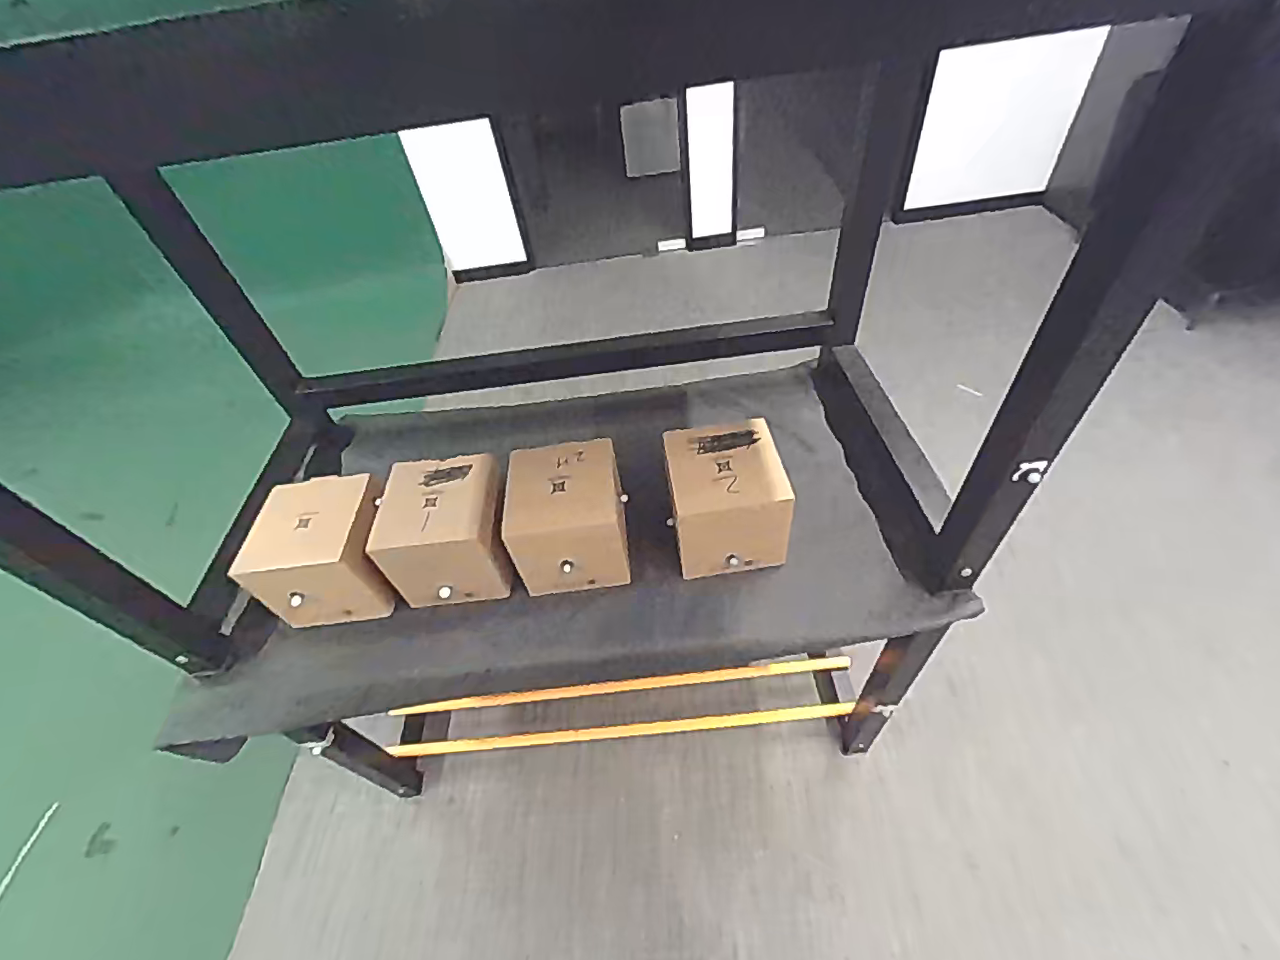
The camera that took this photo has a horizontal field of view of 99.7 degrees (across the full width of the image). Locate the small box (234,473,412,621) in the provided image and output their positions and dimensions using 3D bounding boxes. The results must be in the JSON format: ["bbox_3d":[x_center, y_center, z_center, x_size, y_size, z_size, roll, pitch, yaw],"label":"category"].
[{"bbox_3d":[-0.495,0.115,0.880,0.168,0.176,0.179,-7,46,1],"label":"small box"}]
